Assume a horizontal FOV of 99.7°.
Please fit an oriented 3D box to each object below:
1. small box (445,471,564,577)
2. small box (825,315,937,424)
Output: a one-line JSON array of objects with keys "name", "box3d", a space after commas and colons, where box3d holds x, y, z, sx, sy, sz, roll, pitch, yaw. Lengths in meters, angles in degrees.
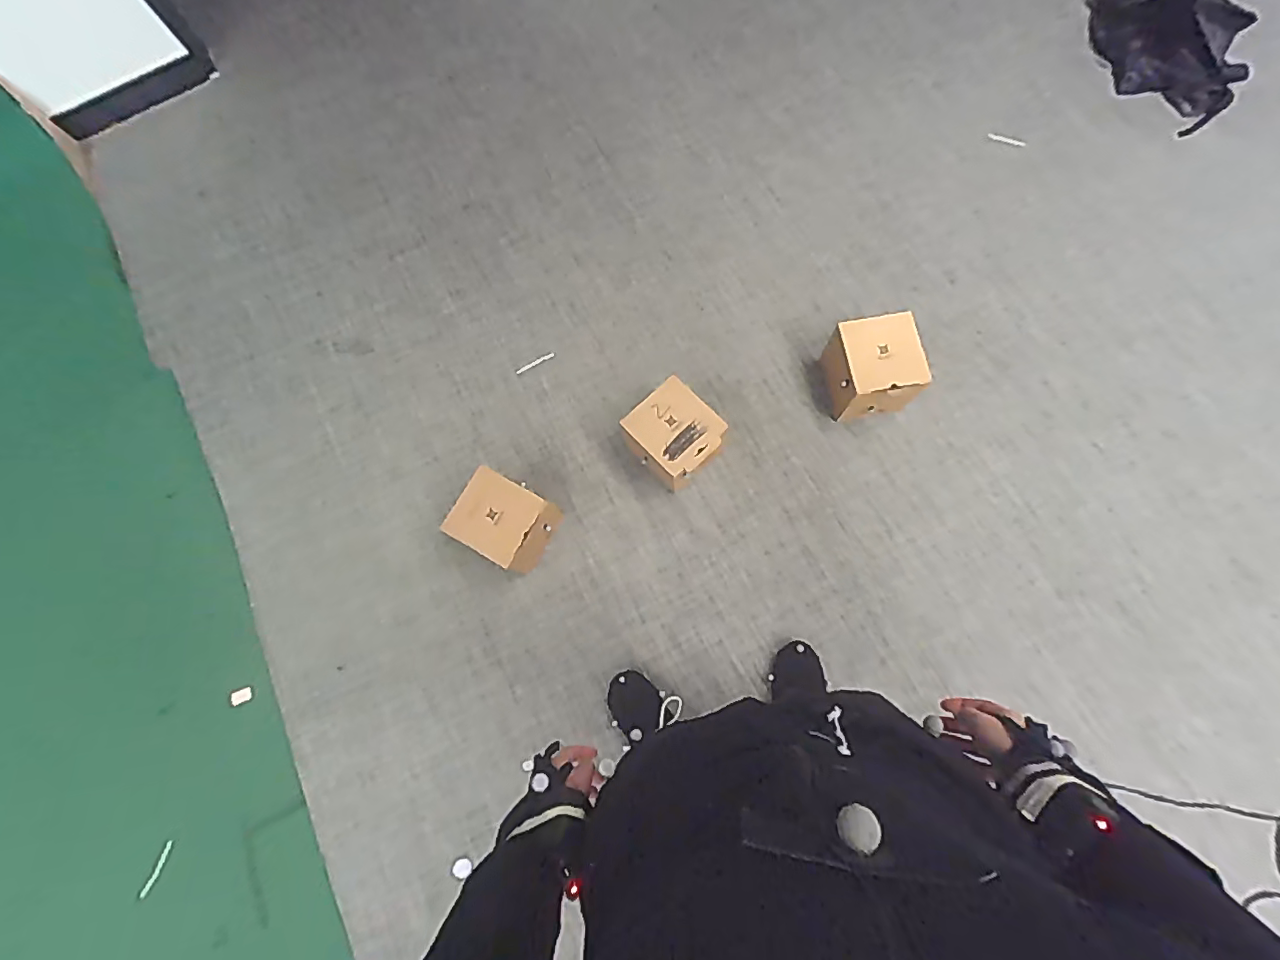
[{"name": "small box", "box3d": [-0.294, 0.106, 1.216, 0.179, 0.176, 0.168, 27, 78, 12]}, {"name": "small box", "box3d": [0.543, -0.249, 1.245, 0.168, 0.176, 0.179, -10, 75, 2]}]
